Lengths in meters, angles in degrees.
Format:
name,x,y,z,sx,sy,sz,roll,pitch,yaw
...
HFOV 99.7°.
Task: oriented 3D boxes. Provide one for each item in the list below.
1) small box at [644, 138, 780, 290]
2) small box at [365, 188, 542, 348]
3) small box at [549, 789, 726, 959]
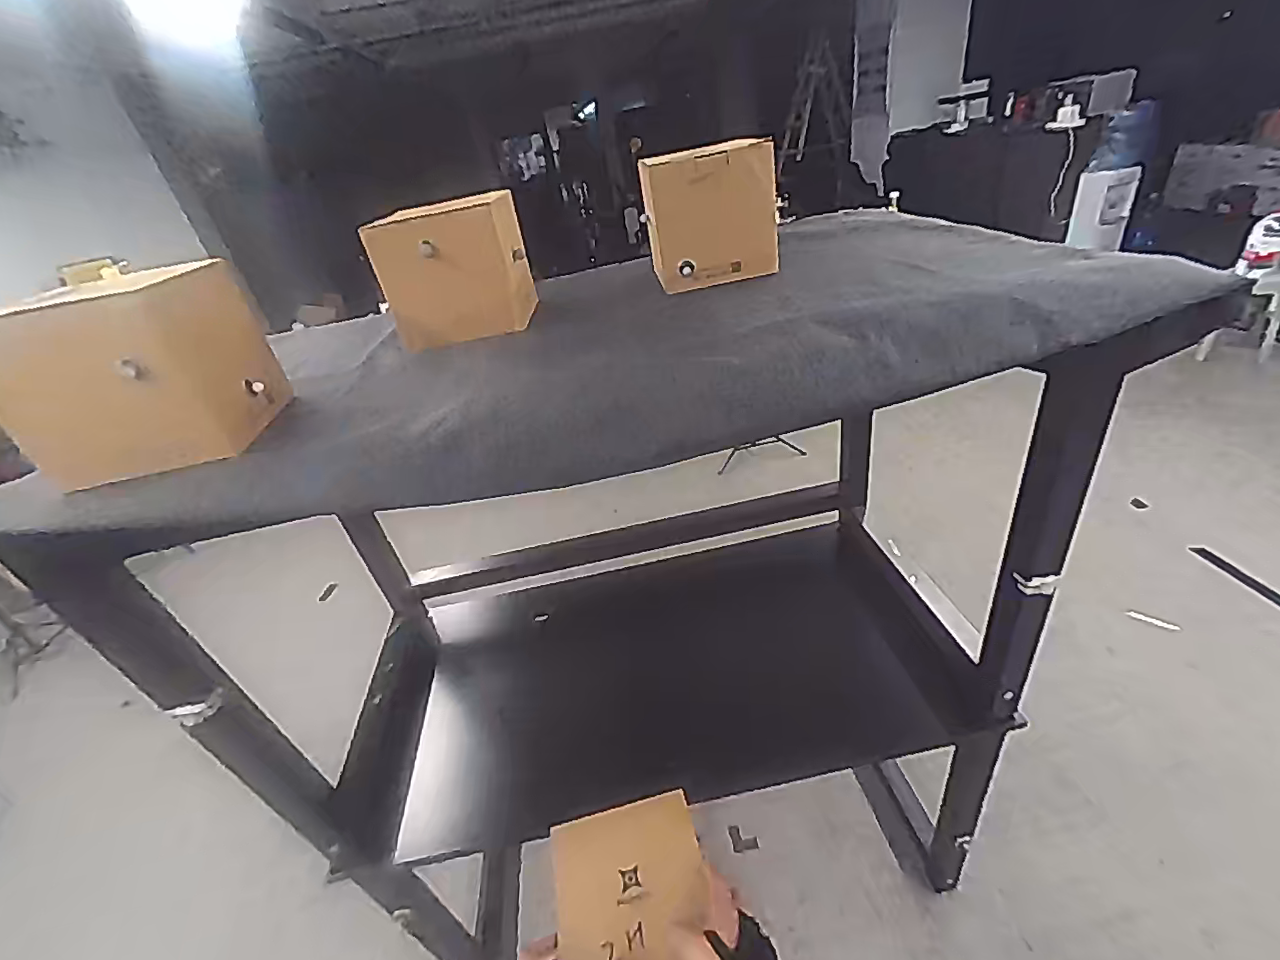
name,x,y,z,sx,sy,sz,roll,pitch,yaw
small box,0.105,-0.392,0.804,0.168,0.176,0.179,-10,32,2
small box,-0.251,-0.308,0.785,0.179,0.176,0.168,-9,33,4
small box,-0.004,0.503,0.620,0.168,0.176,0.179,-13,32,-6
